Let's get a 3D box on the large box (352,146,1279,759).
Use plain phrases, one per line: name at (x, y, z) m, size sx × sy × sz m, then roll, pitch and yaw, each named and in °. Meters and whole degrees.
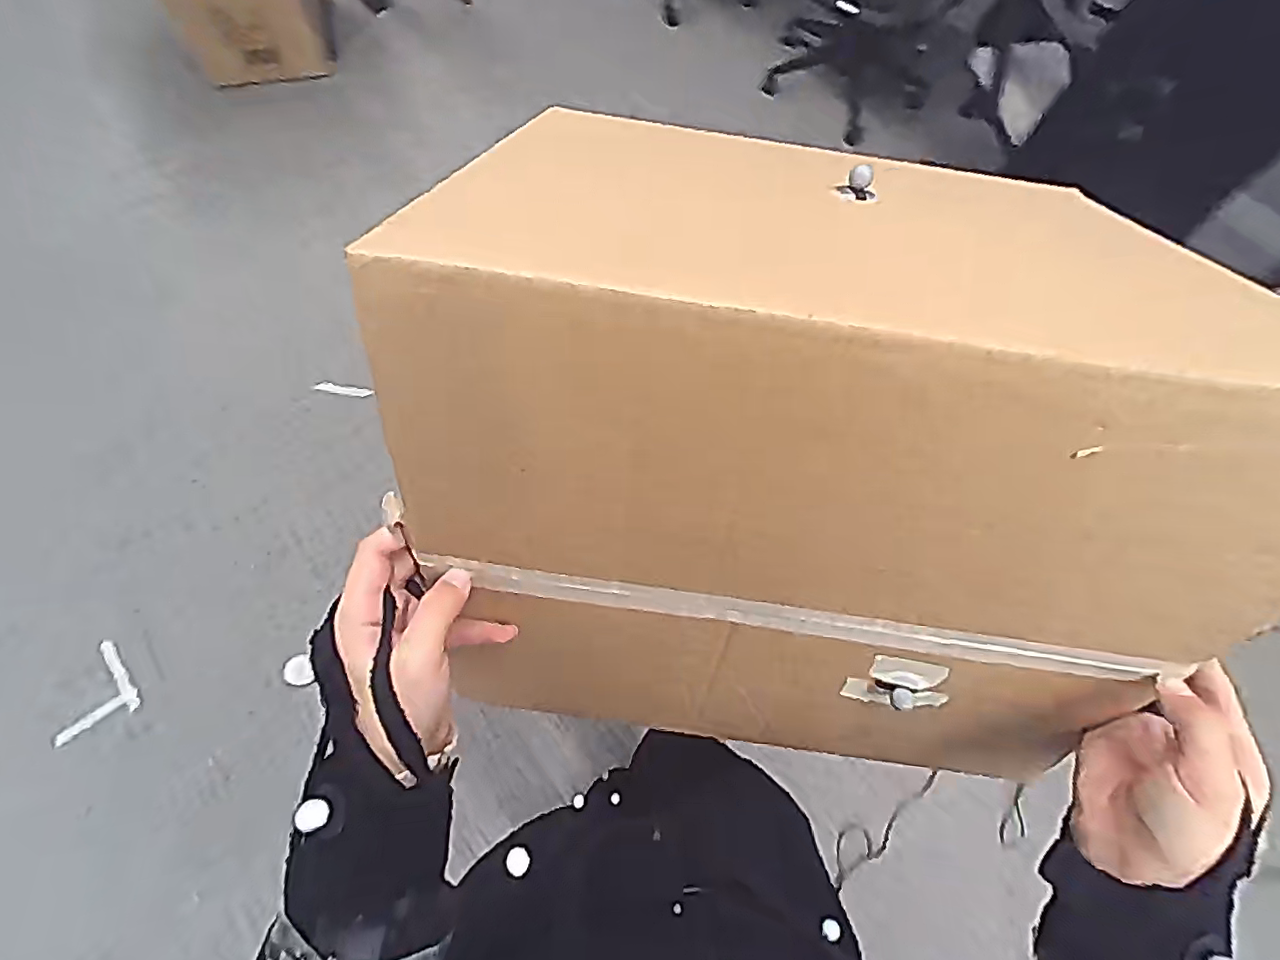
large box at (0.088, -0.030, 0.402) m, size 0.408 × 0.320 × 0.320 m, roll 6°, pitch 43°, yaw -1°
